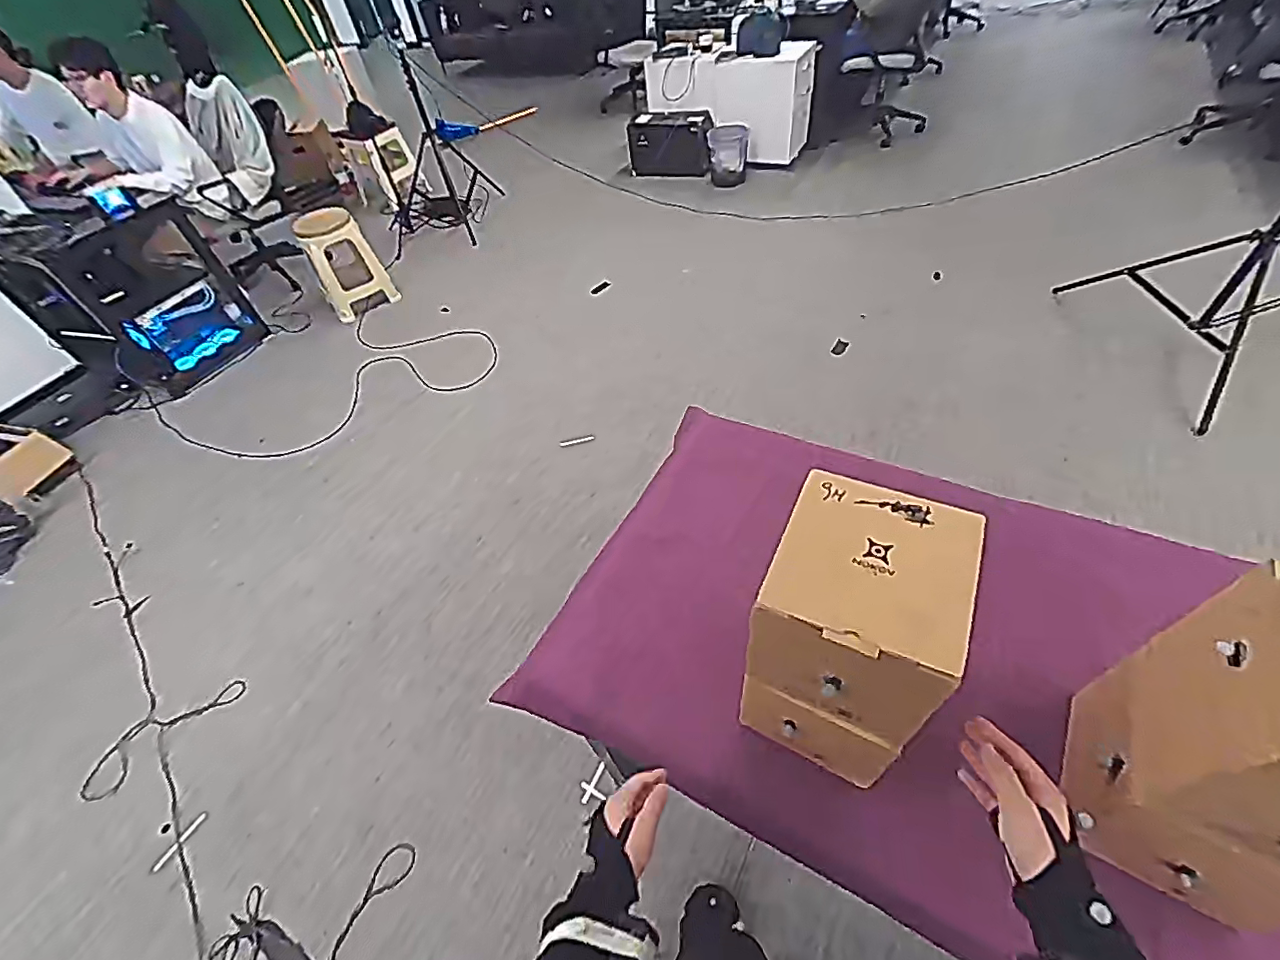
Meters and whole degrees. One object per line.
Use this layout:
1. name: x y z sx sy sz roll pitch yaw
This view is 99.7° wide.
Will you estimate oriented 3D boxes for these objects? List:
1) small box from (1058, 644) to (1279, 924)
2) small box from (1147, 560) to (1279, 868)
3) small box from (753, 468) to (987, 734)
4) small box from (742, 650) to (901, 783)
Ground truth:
1. small box: 0.564 0.310 0.550 0.168 0.176 0.179 23 56 24
2. small box: 0.550 0.202 0.427 0.168 0.176 0.179 22 56 25
3. small box: 0.220 0.123 0.546 0.168 0.176 0.179 18 54 22
4. small box: 0.235 0.235 0.665 0.168 0.176 0.179 21 54 24
